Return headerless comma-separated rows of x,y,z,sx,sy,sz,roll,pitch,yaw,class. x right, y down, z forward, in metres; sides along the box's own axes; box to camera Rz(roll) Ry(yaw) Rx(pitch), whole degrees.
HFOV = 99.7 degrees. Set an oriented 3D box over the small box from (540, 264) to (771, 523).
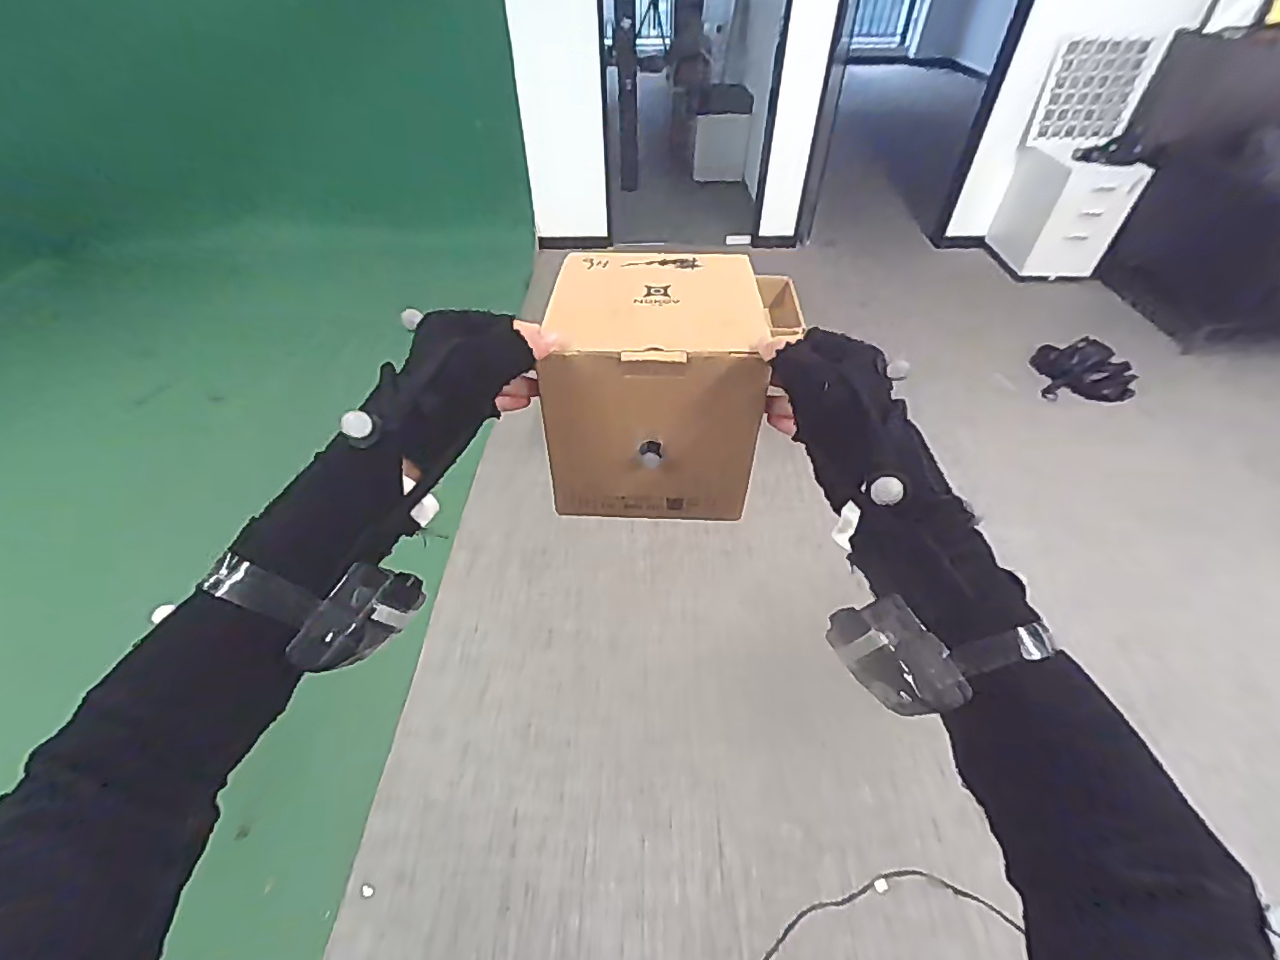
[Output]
0.016,-0.077,0.487,0.168,0.176,0.179,2,44,2,small box
